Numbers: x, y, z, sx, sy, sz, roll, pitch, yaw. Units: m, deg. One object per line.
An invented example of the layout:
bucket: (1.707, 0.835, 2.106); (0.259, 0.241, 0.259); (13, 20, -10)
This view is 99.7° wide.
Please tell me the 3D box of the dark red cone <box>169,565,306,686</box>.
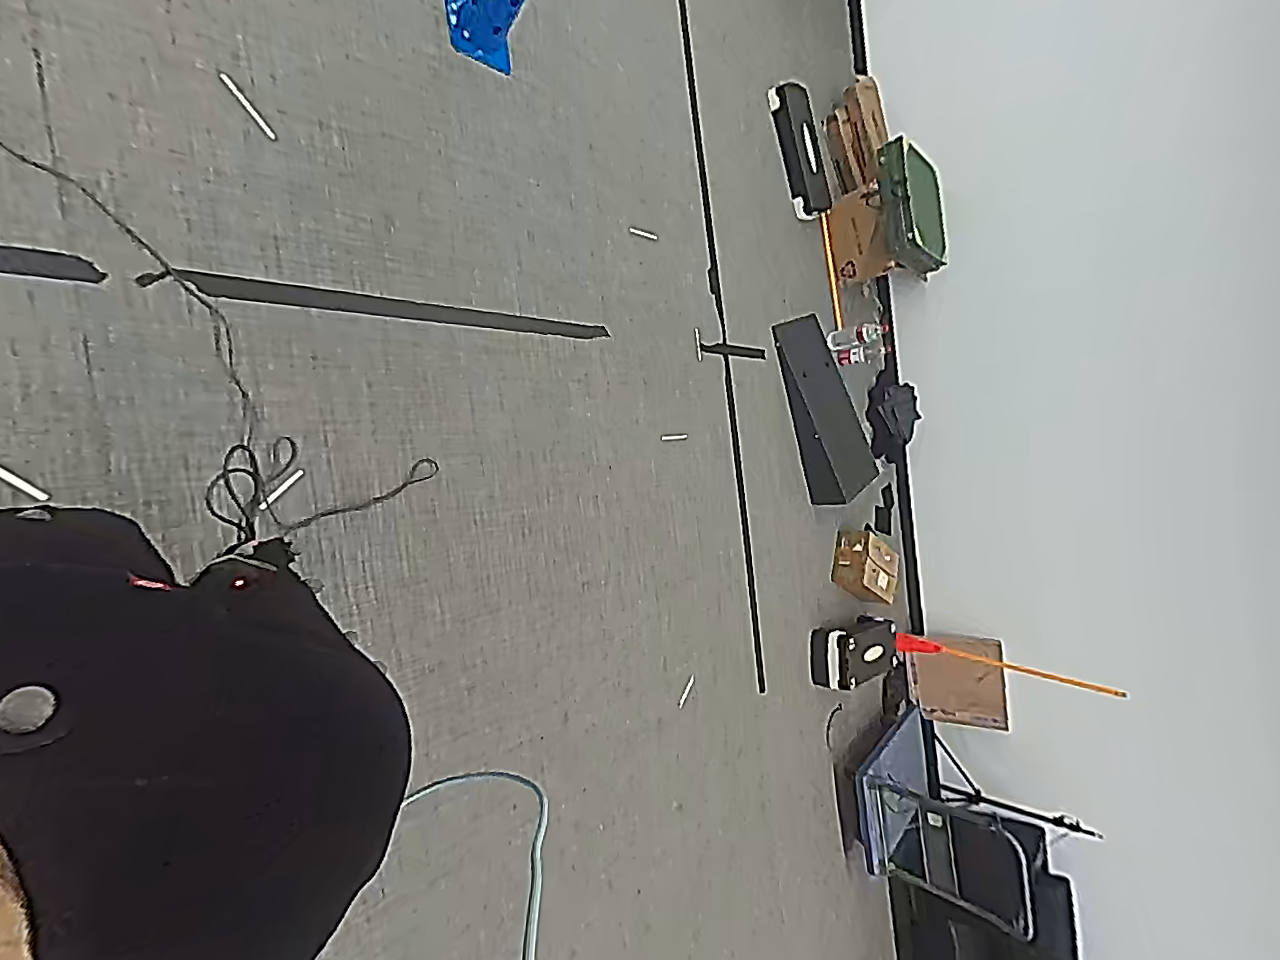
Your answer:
dark red cone: (-0.700, 0.281, 0.993); (0.202, 0.394, 0.201); (-19, 99, -44)

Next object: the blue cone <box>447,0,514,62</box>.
blue cone: (-0.369, -1.374, 1.491); (0.193, 0.380, 0.192); (-8, 91, -45)
